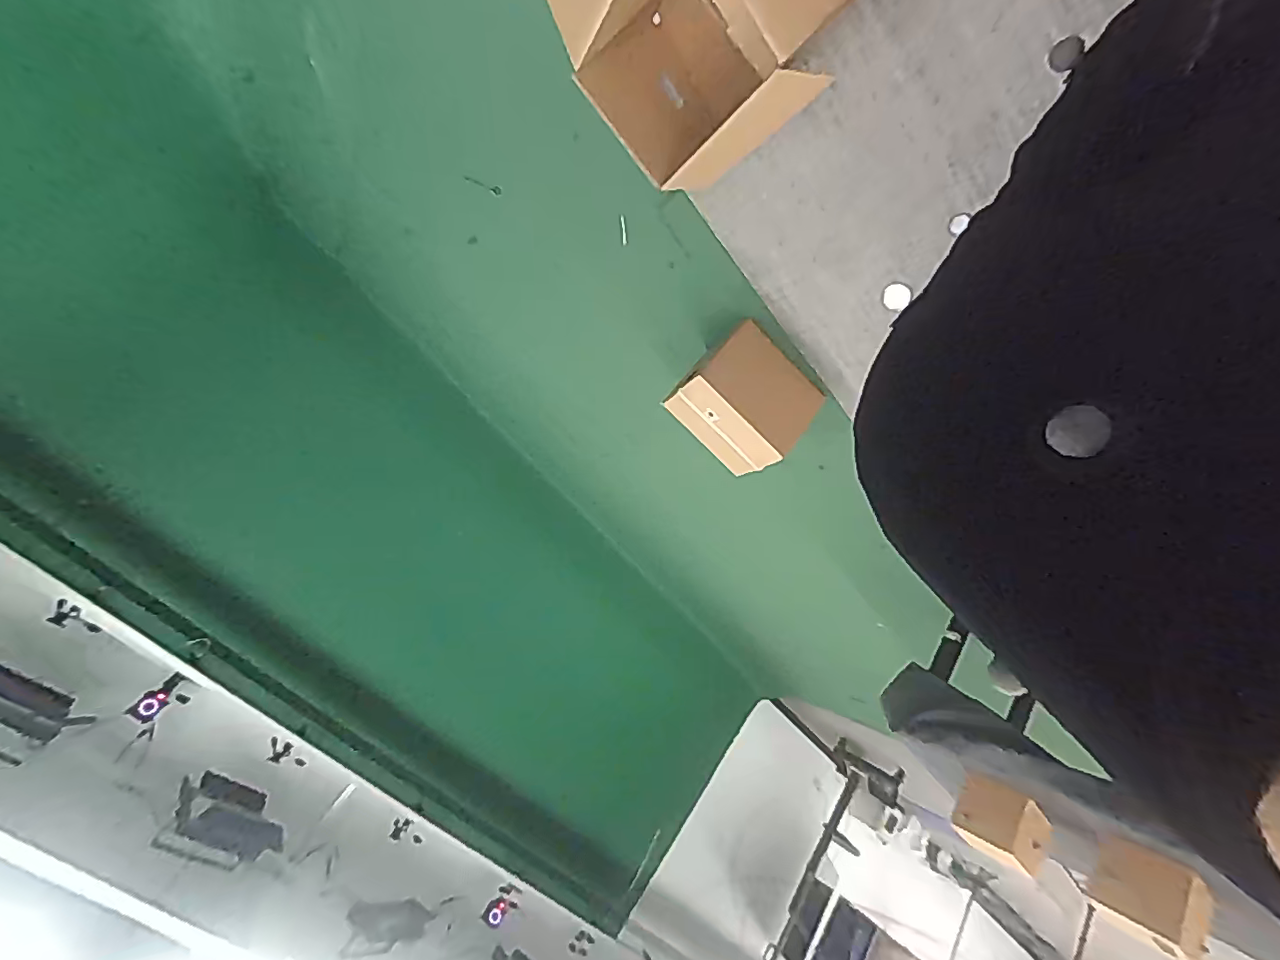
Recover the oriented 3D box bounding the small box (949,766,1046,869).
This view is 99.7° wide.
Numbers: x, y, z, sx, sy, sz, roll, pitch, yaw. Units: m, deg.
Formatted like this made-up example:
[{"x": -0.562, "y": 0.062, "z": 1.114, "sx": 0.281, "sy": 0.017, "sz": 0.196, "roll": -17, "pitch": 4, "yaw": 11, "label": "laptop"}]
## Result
[{"x": 1.060, "y": 0.983, "z": 1.592, "sx": 0.168, "sy": 0.176, "sz": 0.179, "roll": 47, "pitch": 158, "yaw": -21, "label": "small box"}]
